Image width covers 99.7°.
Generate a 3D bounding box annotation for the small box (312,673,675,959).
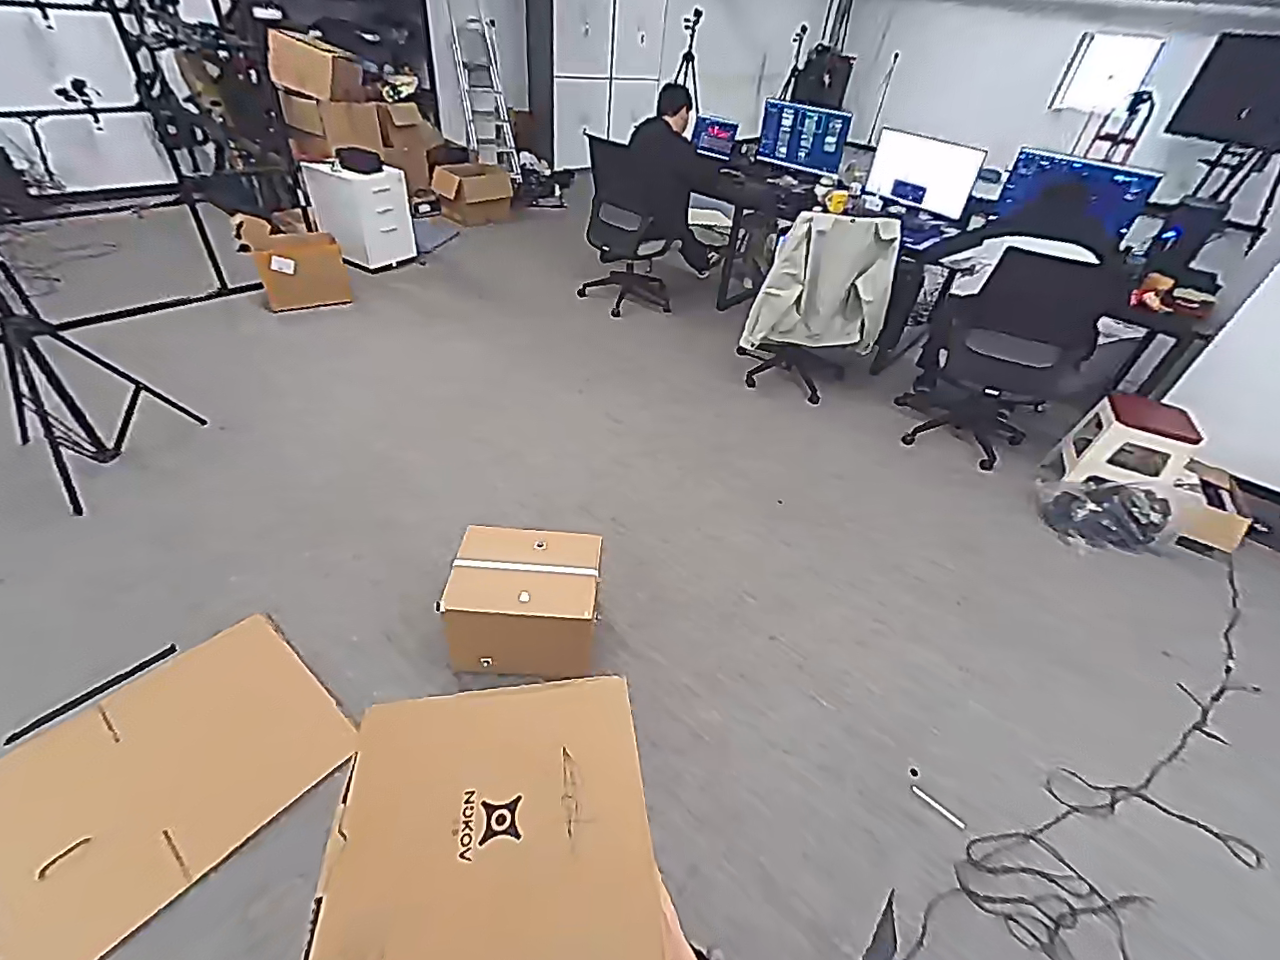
[{"bbox_3d":[-0.082,0.256,0.357,0.179,0.176,0.168,-4,39,-10],"label":"small box"}]
